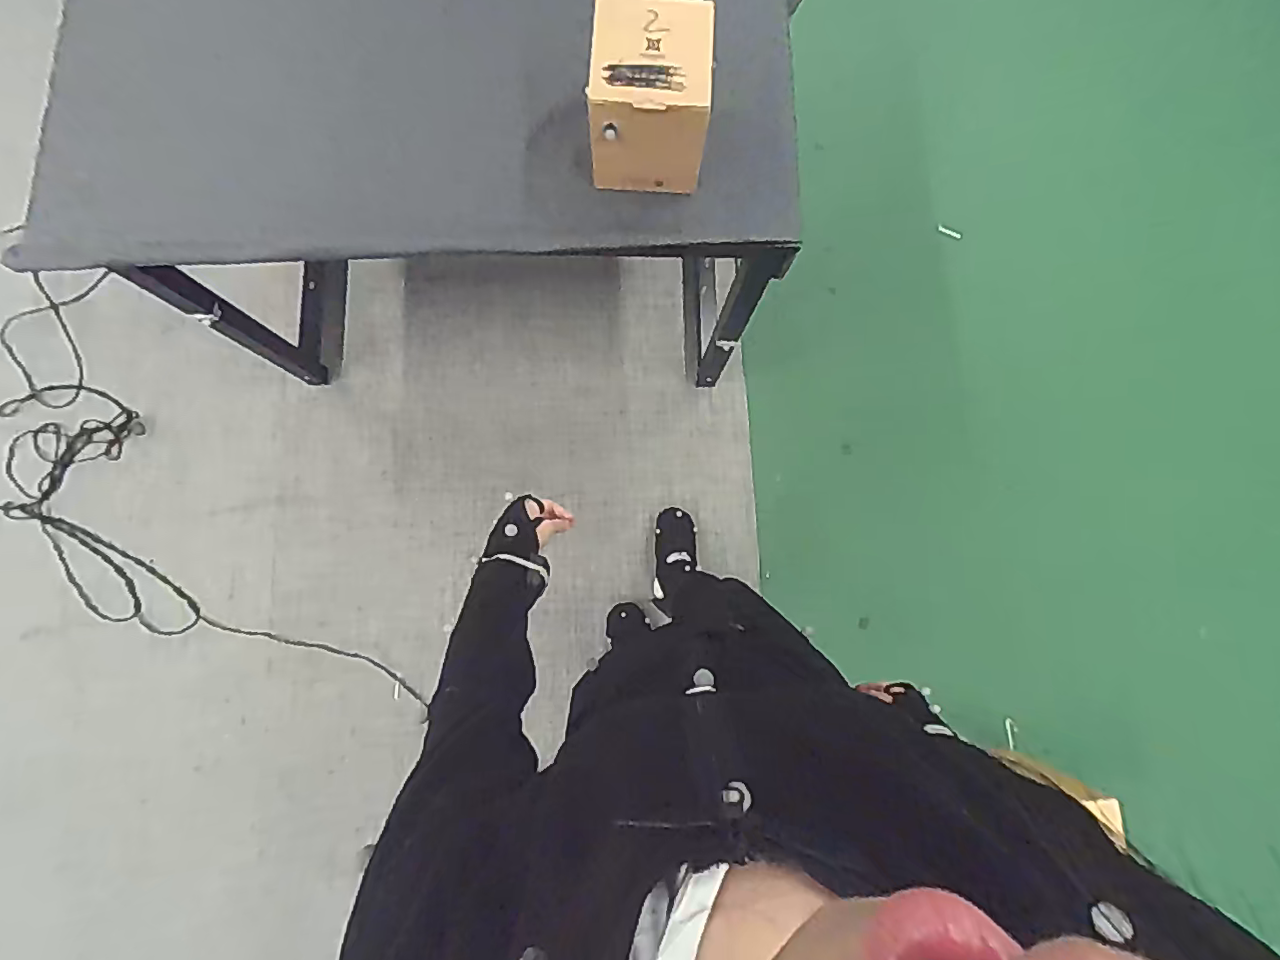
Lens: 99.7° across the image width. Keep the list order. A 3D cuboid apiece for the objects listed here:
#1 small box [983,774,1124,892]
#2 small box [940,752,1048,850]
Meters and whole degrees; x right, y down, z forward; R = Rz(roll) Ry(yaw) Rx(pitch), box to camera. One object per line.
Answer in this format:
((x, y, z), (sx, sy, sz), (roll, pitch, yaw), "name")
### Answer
((0.912, 0.776, 1.207), (0.179, 0.176, 0.168), (-3, 81, -4), "small box")
((0.900, 0.802, 1.367), (0.179, 0.176, 0.168), (-1, 80, -4), "small box")
